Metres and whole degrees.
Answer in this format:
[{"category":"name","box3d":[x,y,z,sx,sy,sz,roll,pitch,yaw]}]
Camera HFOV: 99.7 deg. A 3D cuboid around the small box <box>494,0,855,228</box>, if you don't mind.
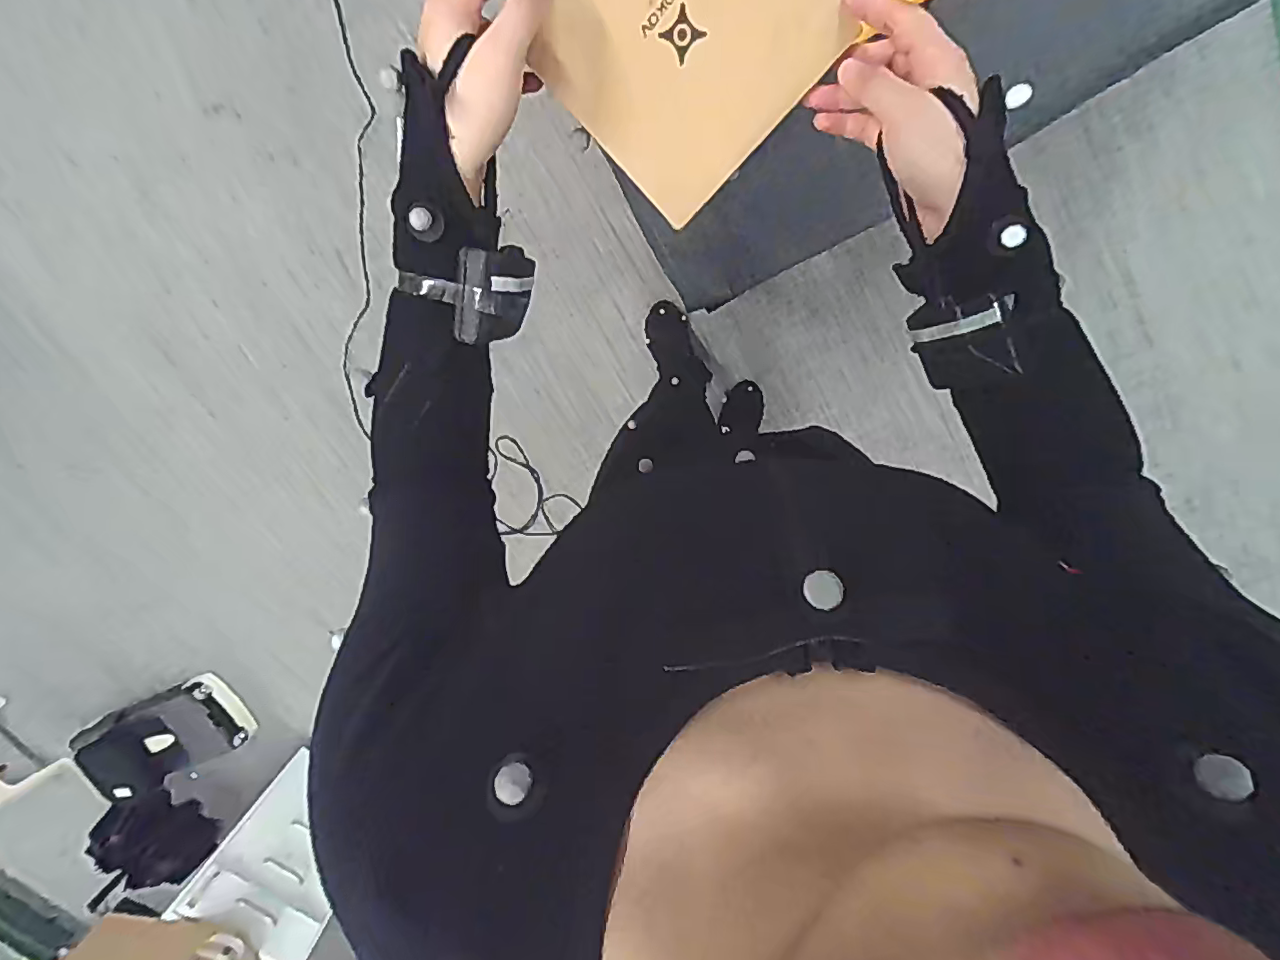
[{"category":"small box","box3d":[0.024,-0.332,0.412,0.179,0.176,0.168,39,114,-22]}]
